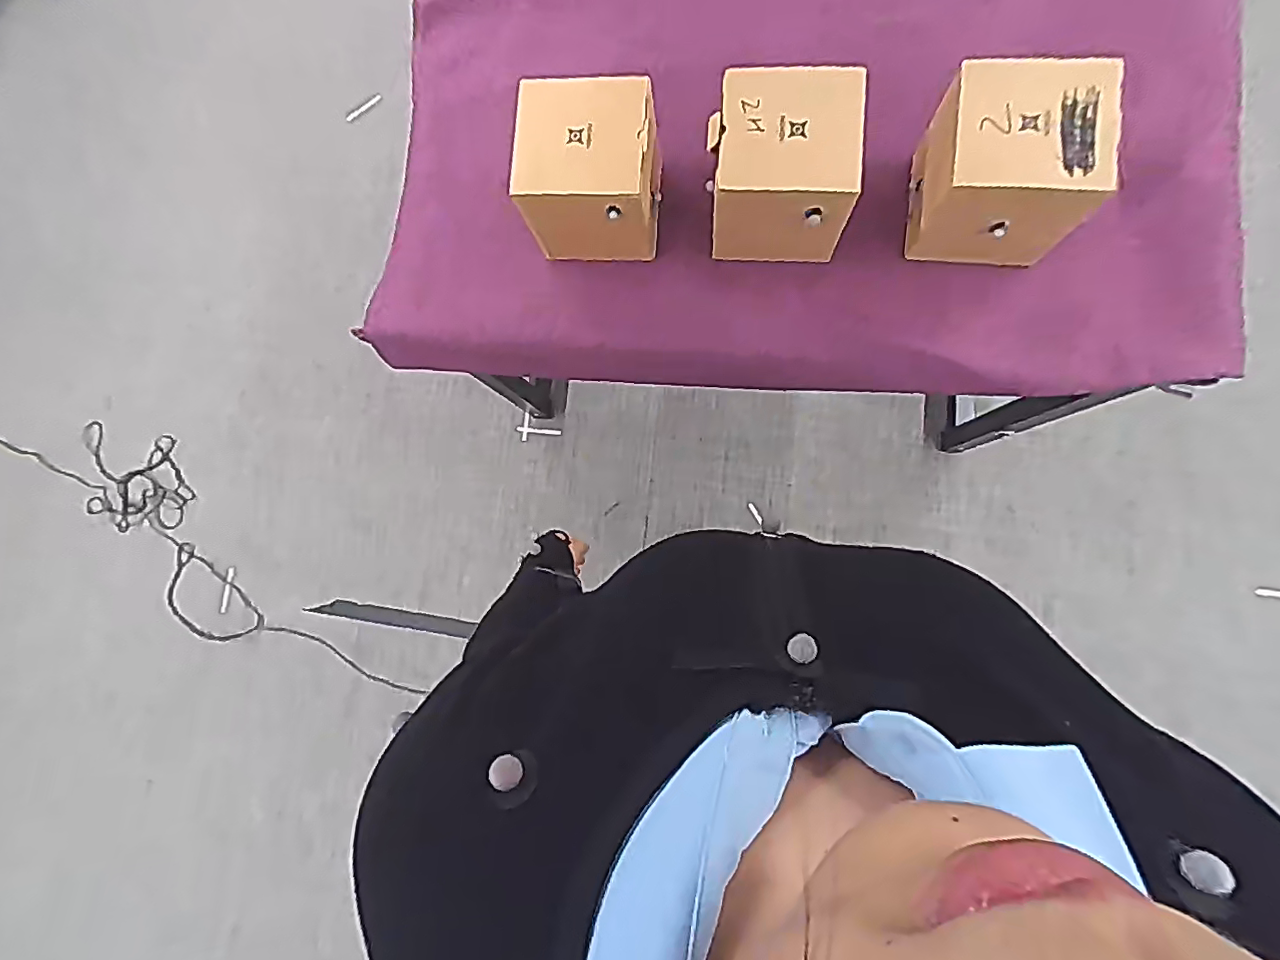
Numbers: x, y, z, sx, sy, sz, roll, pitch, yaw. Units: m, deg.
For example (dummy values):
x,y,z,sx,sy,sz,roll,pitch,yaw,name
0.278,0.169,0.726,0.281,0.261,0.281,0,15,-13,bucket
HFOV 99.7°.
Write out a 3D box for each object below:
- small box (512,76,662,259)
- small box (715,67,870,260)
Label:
x,y,z,sx,sy,sz,roll,pitch,yaw,name
-0.066,-0.435,0.778,0.179,0.176,0.168,3,84,7,small box
0.198,-0.420,0.742,0.179,0.176,0.168,4,84,8,small box
